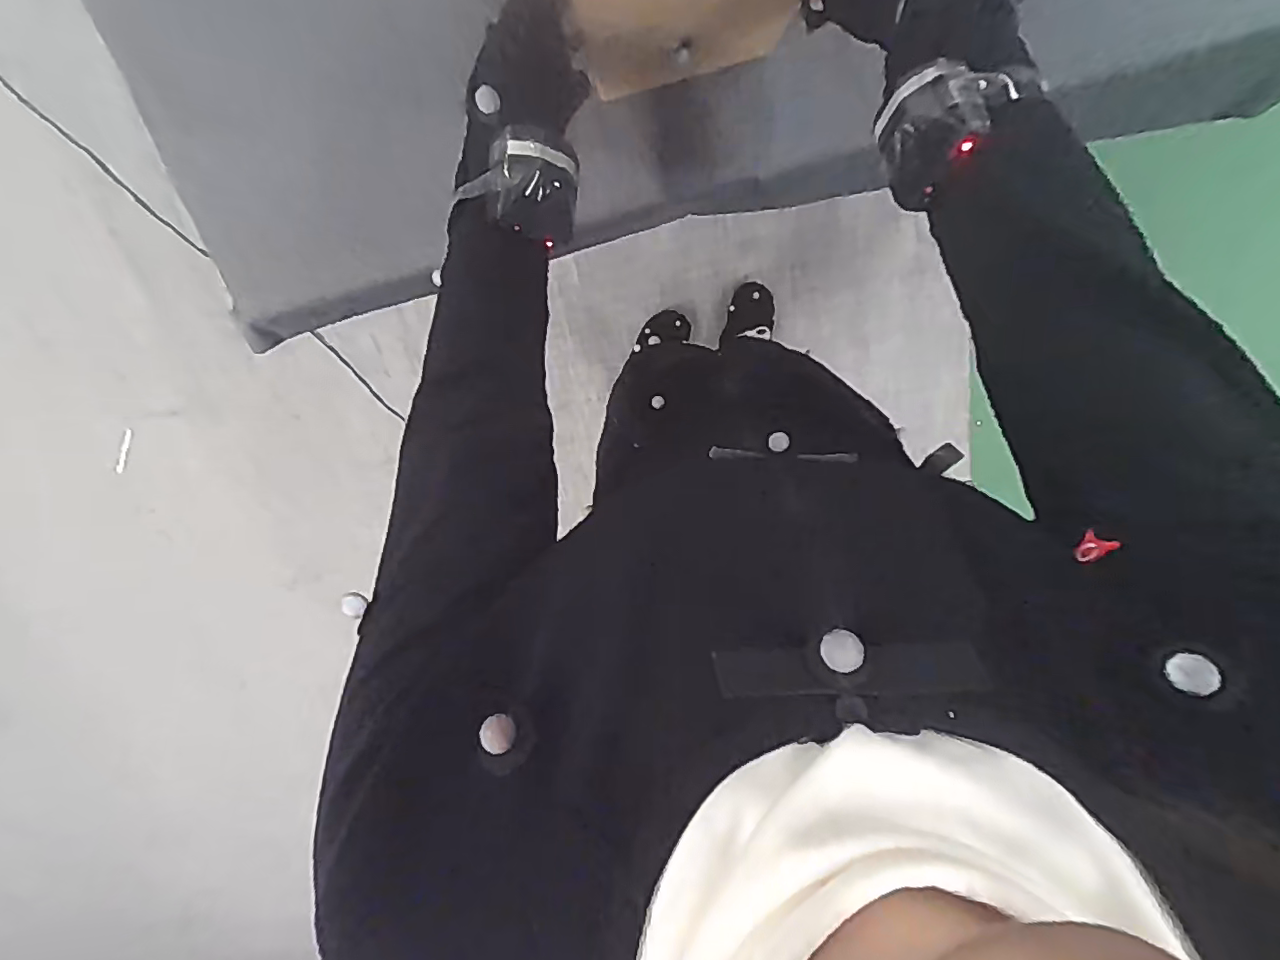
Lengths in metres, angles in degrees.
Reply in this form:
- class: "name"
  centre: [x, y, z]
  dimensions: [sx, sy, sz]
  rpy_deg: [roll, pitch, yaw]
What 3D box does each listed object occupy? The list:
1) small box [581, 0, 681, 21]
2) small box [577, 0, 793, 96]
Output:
- class: "small box"
  centre: [0.018, -0.395, 0.292]
  dimensions: [0.168, 0.176, 0.179]
  rpy_deg: [-13, 110, 7]
- class: "small box"
  centre: [0.027, -0.453, 0.444]
  dimensions: [0.179, 0.176, 0.168]
  rpy_deg: [-12, 110, 7]
